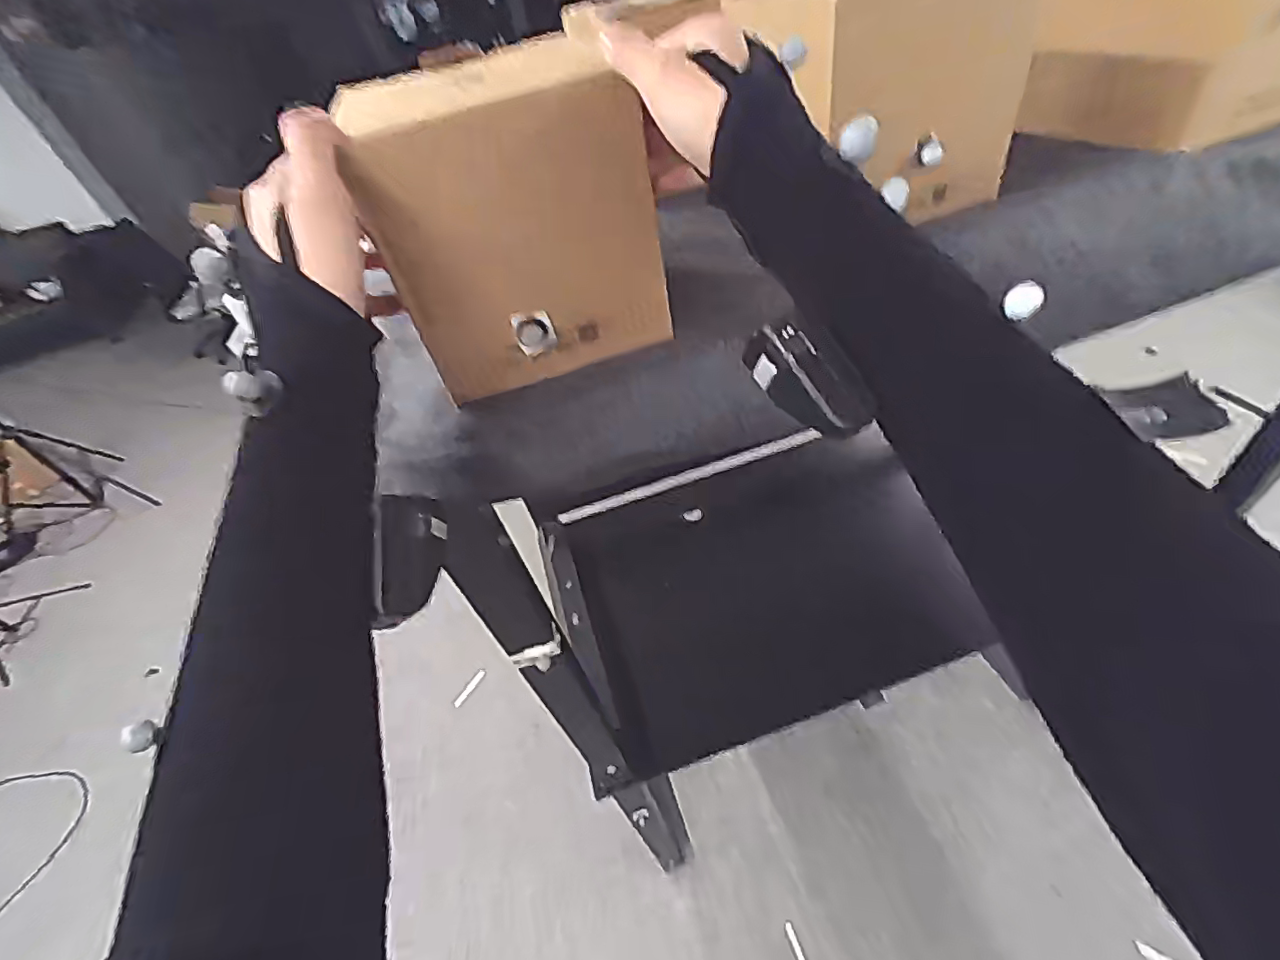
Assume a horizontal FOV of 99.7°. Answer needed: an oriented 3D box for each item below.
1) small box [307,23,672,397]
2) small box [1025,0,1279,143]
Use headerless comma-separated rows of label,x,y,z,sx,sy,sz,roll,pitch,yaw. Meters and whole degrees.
small box,-0.090,-0.186,0.371,0.168,0.176,0.179,-21,45,-7
small box,0.479,-0.402,0.453,0.168,0.176,0.179,-20,42,-7
